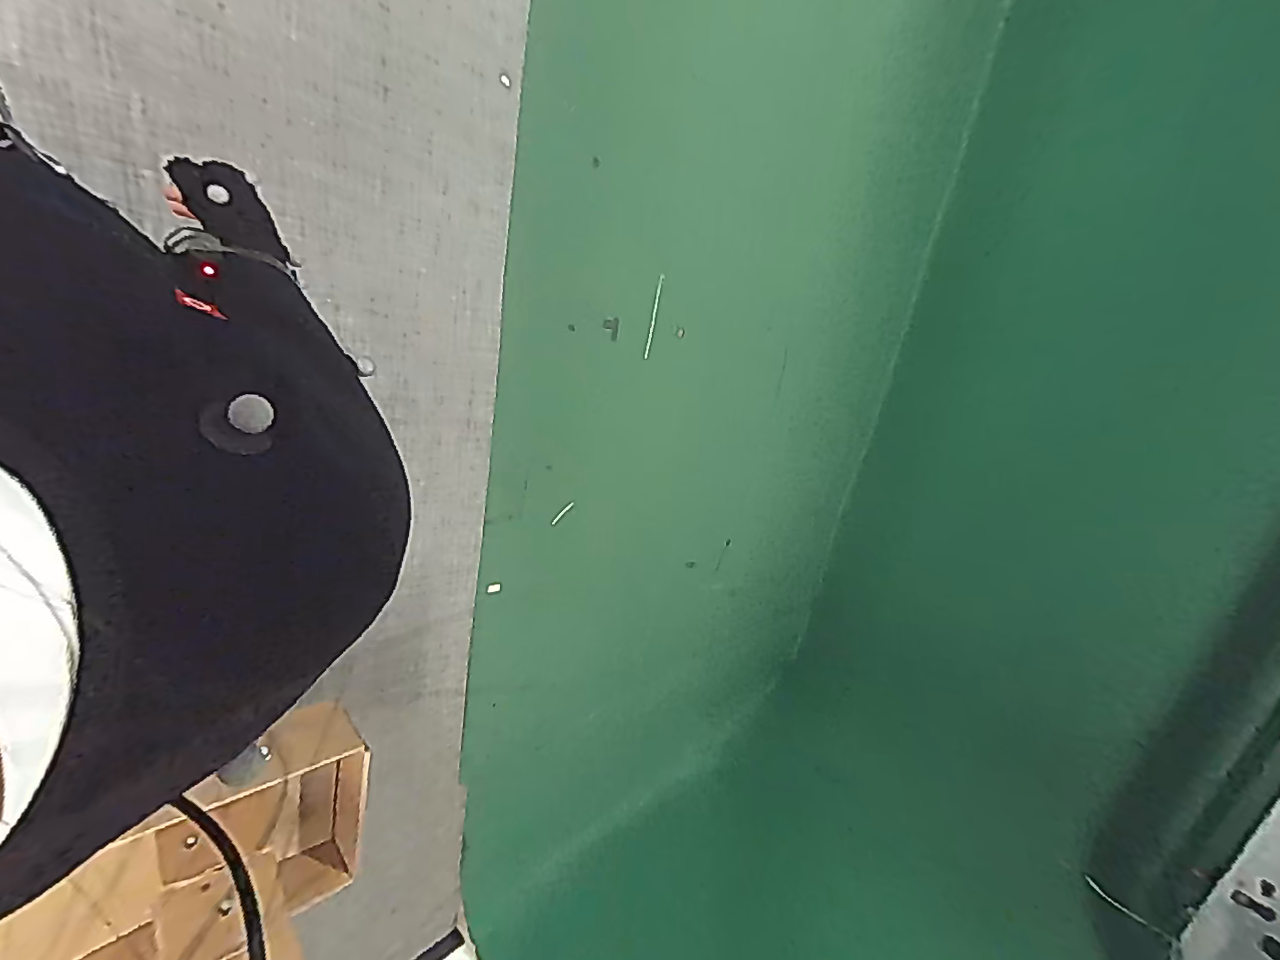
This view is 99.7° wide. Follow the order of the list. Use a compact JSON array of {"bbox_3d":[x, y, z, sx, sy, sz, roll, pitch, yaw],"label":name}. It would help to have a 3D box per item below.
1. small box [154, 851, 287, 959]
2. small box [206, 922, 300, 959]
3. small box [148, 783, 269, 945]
[{"bbox_3d":[-0.743,0.803,0.954,0.168,0.176,0.179,-1,111,-44],"label":"small box"},{"bbox_3d":[-0.631,0.860,0.846,0.179,0.176,0.168,-4,114,-43],"label":"small box"},{"bbox_3d":[-0.848,0.734,1.059,0.168,0.176,0.179,0,113,-45],"label":"small box"}]
